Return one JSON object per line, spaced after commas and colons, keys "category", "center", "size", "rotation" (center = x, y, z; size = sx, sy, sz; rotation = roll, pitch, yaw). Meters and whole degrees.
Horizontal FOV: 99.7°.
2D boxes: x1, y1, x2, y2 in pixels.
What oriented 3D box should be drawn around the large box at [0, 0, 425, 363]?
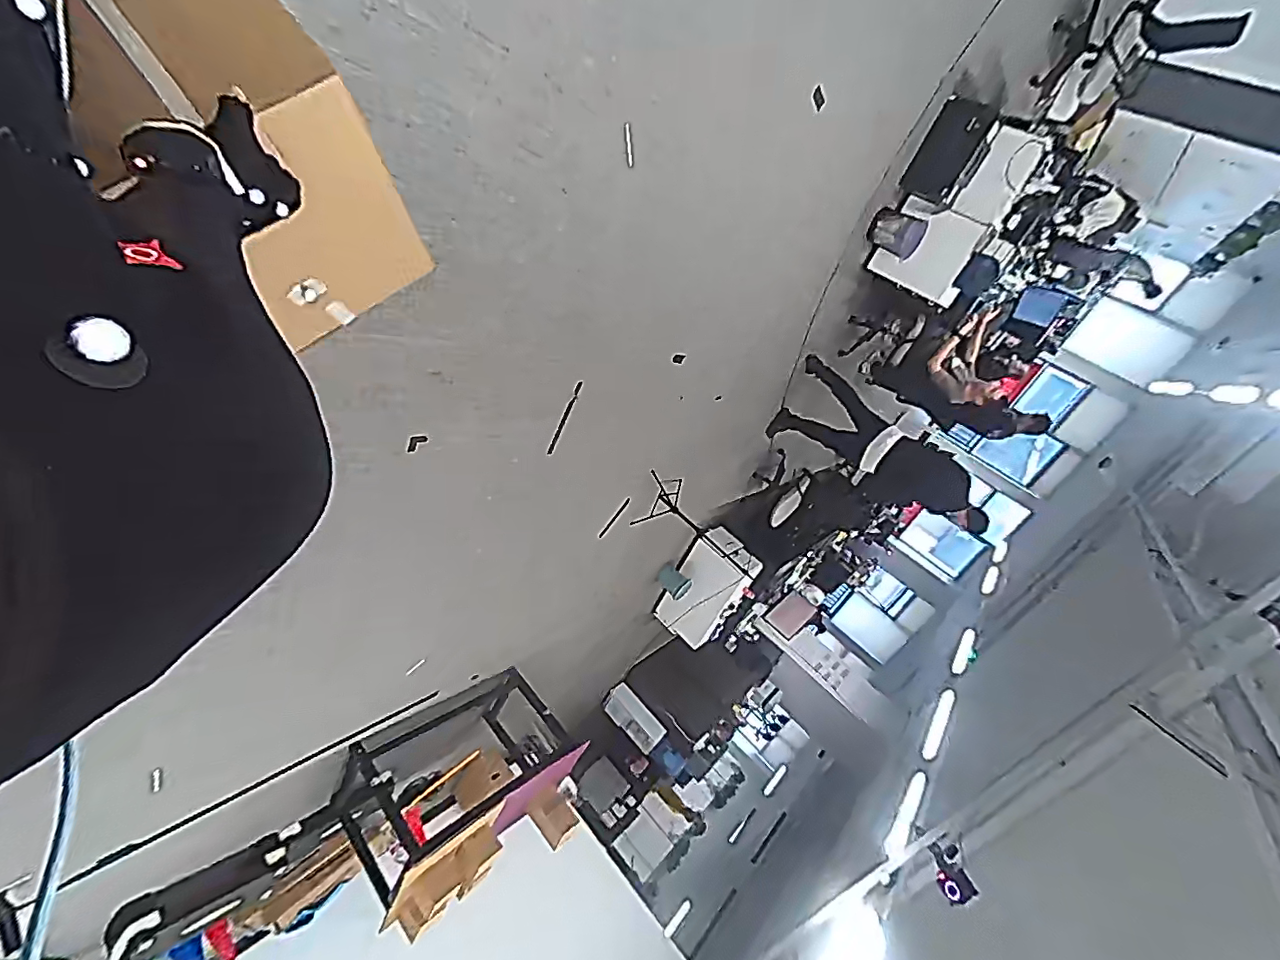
{"category": "large box", "center": [-0.578, -0.444, 0.733], "size": [0.320, 0.408, 0.320], "rotation": [-38, 167, -10]}
